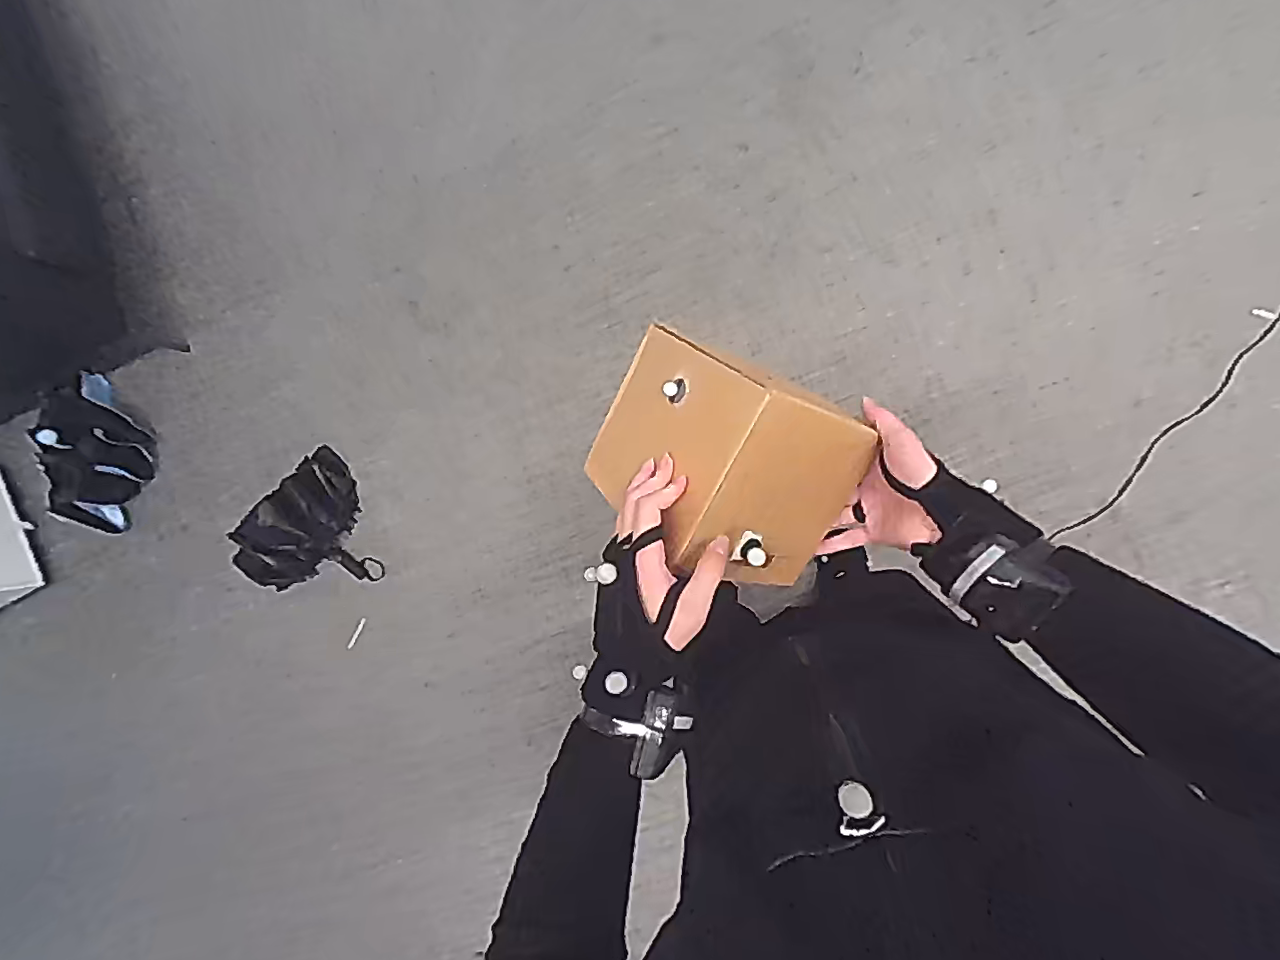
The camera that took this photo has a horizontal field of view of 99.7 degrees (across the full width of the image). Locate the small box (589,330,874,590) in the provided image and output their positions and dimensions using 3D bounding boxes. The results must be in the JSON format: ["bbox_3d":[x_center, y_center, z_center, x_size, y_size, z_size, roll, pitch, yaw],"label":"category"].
[{"bbox_3d":[0.074,-0.017,0.521,0.179,0.168,0.176,47,118,47],"label":"small box"}]
